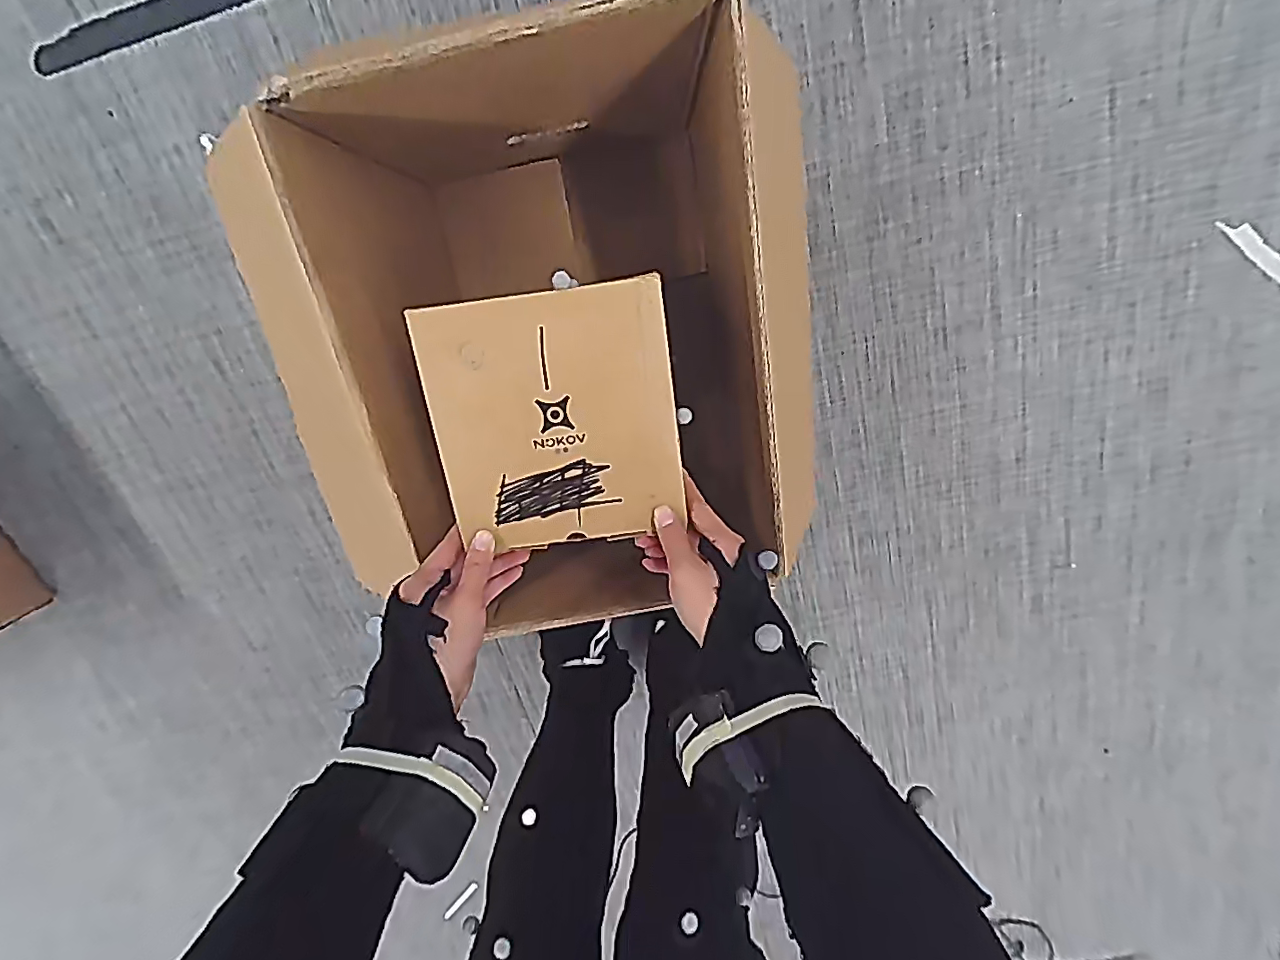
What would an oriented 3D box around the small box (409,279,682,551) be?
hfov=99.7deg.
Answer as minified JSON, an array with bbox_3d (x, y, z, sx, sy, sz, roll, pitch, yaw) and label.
[{"bbox_3d":[-0.059,-0.062,0.447,0.168,0.176,0.179,-7,107,1],"label":"small box"}]
